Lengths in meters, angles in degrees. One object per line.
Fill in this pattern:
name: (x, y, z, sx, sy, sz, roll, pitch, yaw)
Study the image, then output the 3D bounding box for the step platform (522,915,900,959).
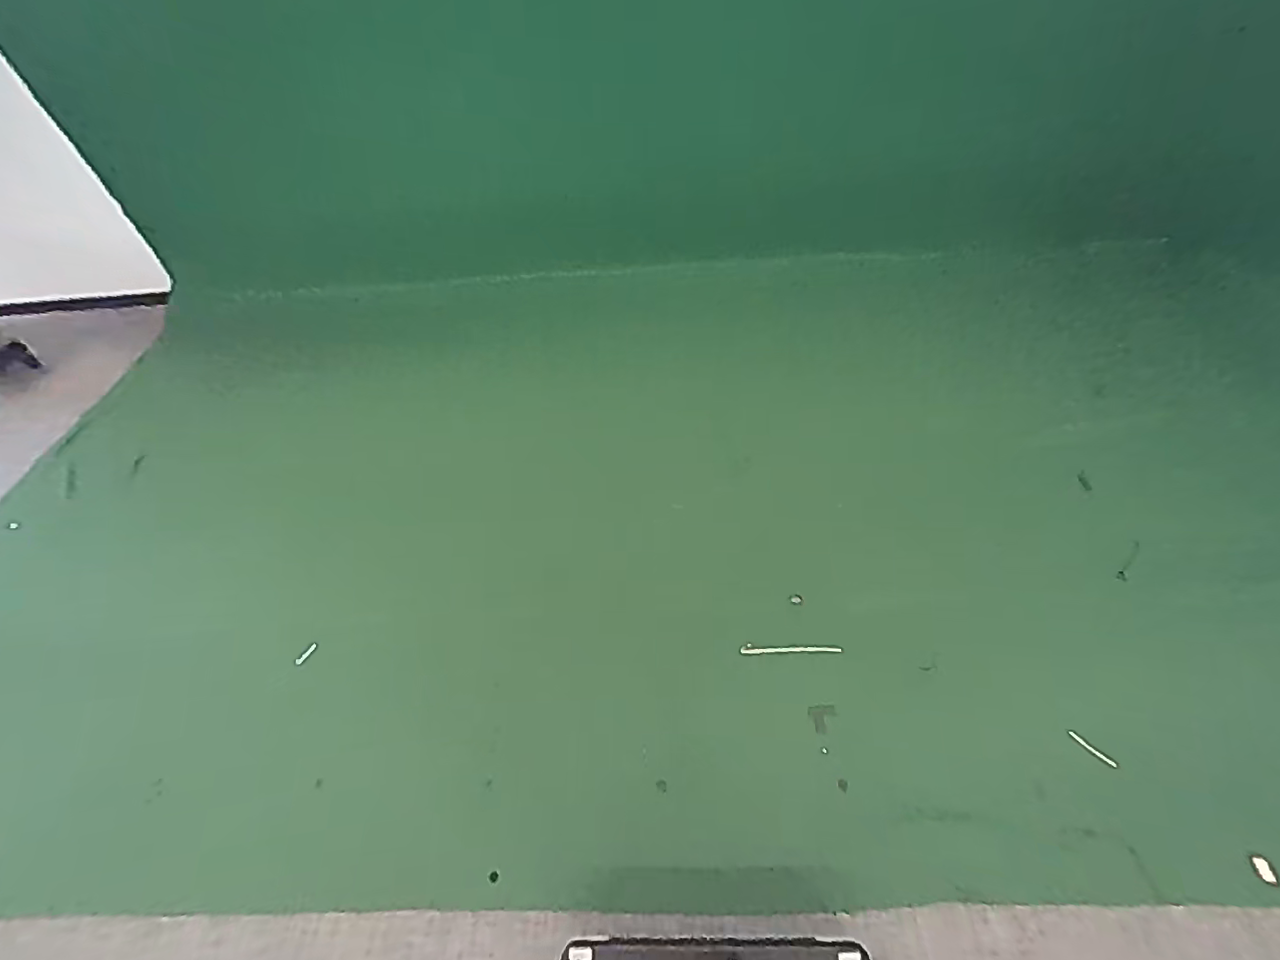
step platform: (0.128, 0.975, 0.977, 0.684, 0.204, 0.286, -3, 50, 3)
